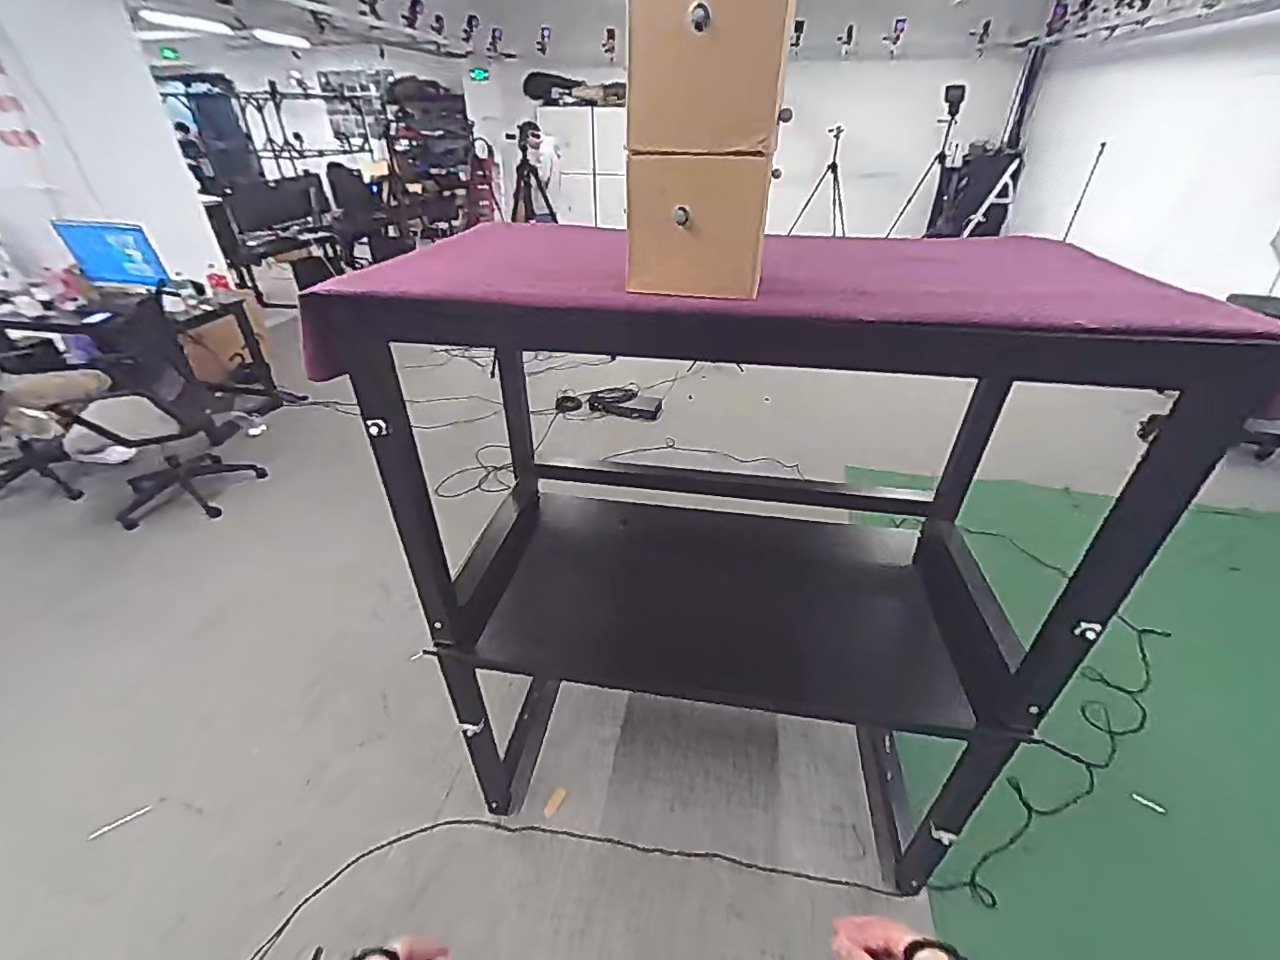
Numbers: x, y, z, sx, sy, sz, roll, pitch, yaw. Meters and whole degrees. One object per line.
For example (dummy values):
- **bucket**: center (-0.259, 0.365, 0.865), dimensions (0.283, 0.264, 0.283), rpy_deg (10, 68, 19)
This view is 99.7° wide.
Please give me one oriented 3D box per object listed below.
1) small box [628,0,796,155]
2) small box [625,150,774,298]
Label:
- **small box**: center (0.087, -0.494, 0.658), dimensions (0.179, 0.176, 0.168), rpy_deg (8, 33, 12)
- **small box**: center (0.085, -0.355, 0.745), dimensions (0.179, 0.176, 0.168), rpy_deg (6, 33, 12)
